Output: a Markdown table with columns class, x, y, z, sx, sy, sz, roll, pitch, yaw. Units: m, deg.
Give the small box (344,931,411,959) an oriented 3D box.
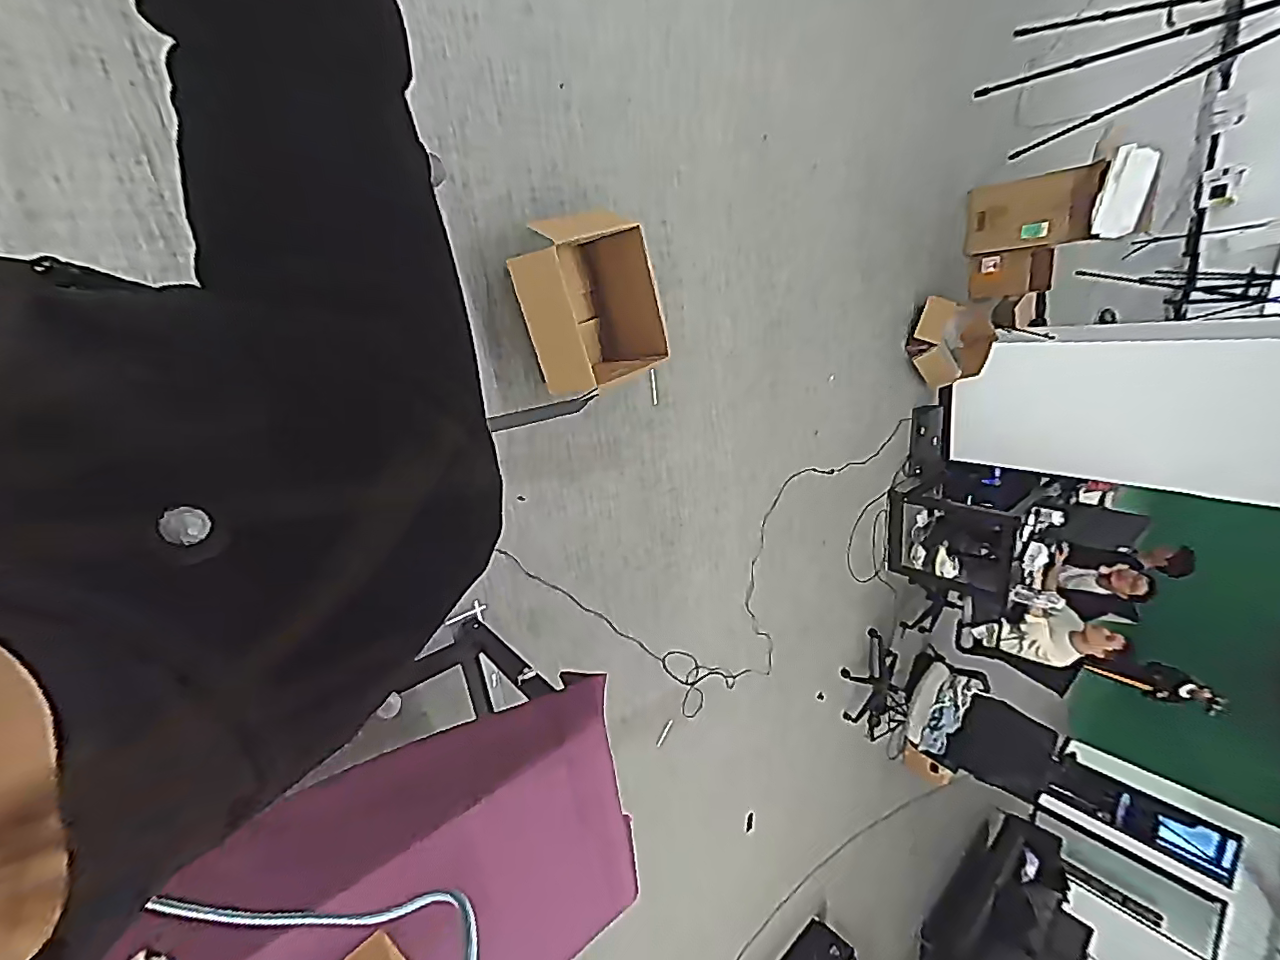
| class | x | y | z | sx | sy | sz | roll | pitch | yaw |
| --- | --- | --- | --- | --- | --- | --- | --- | --- | --- |
| small box | -0.470 | 0.947 | 0.939 | 0.168 | 0.176 | 0.179 | -30 | 118 | -31 |
